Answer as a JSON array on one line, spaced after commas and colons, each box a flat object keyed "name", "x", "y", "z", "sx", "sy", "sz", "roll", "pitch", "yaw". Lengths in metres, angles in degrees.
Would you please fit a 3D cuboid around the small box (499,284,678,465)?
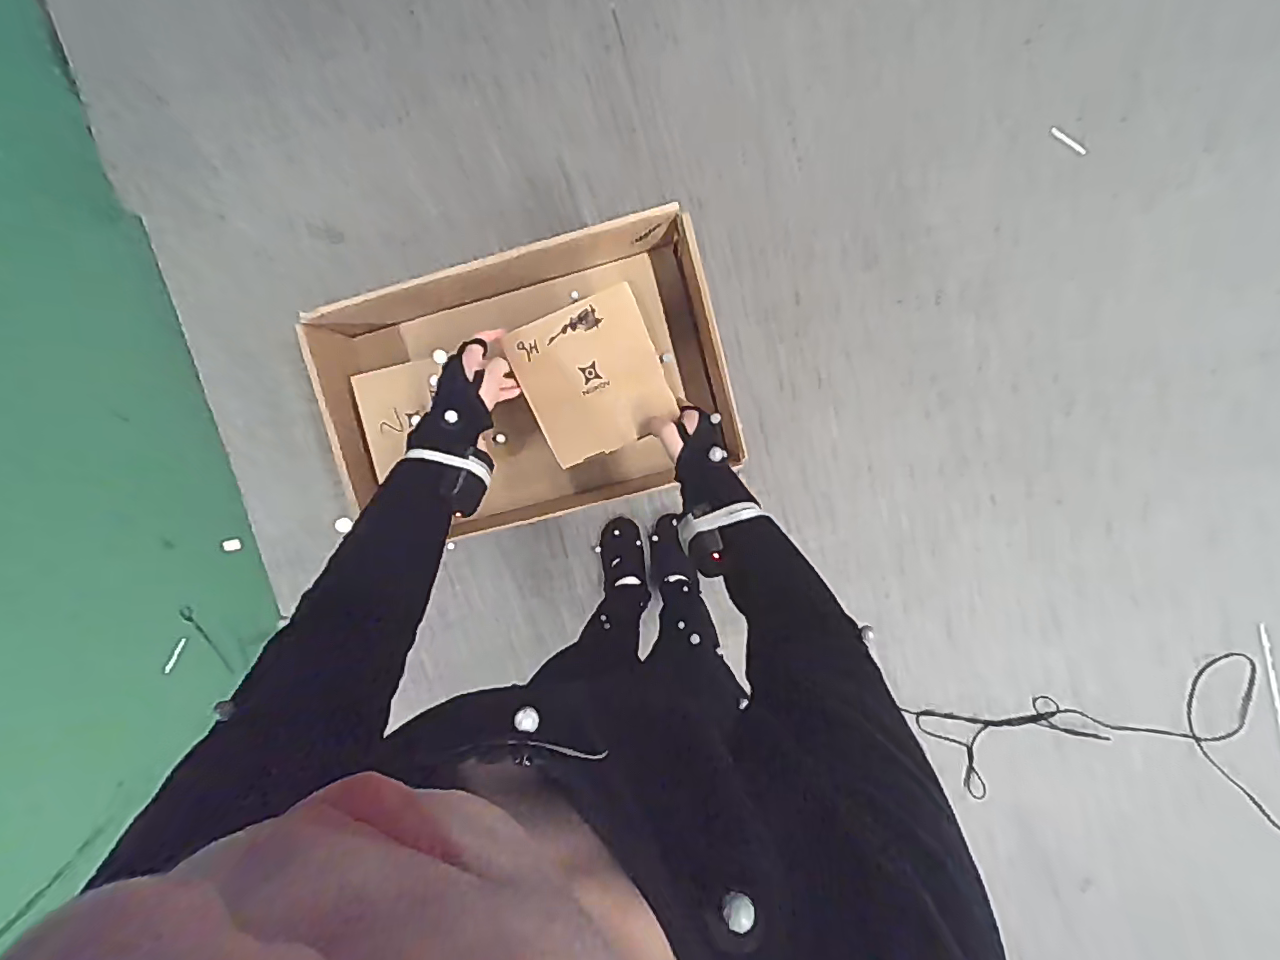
[{"name": "small box", "x": -0.053, "y": -0.146, "z": 0.713, "sx": 0.168, "sy": 0.176, "sz": 0.179, "roll": -20, "pitch": 108, "yaw": 10}]
